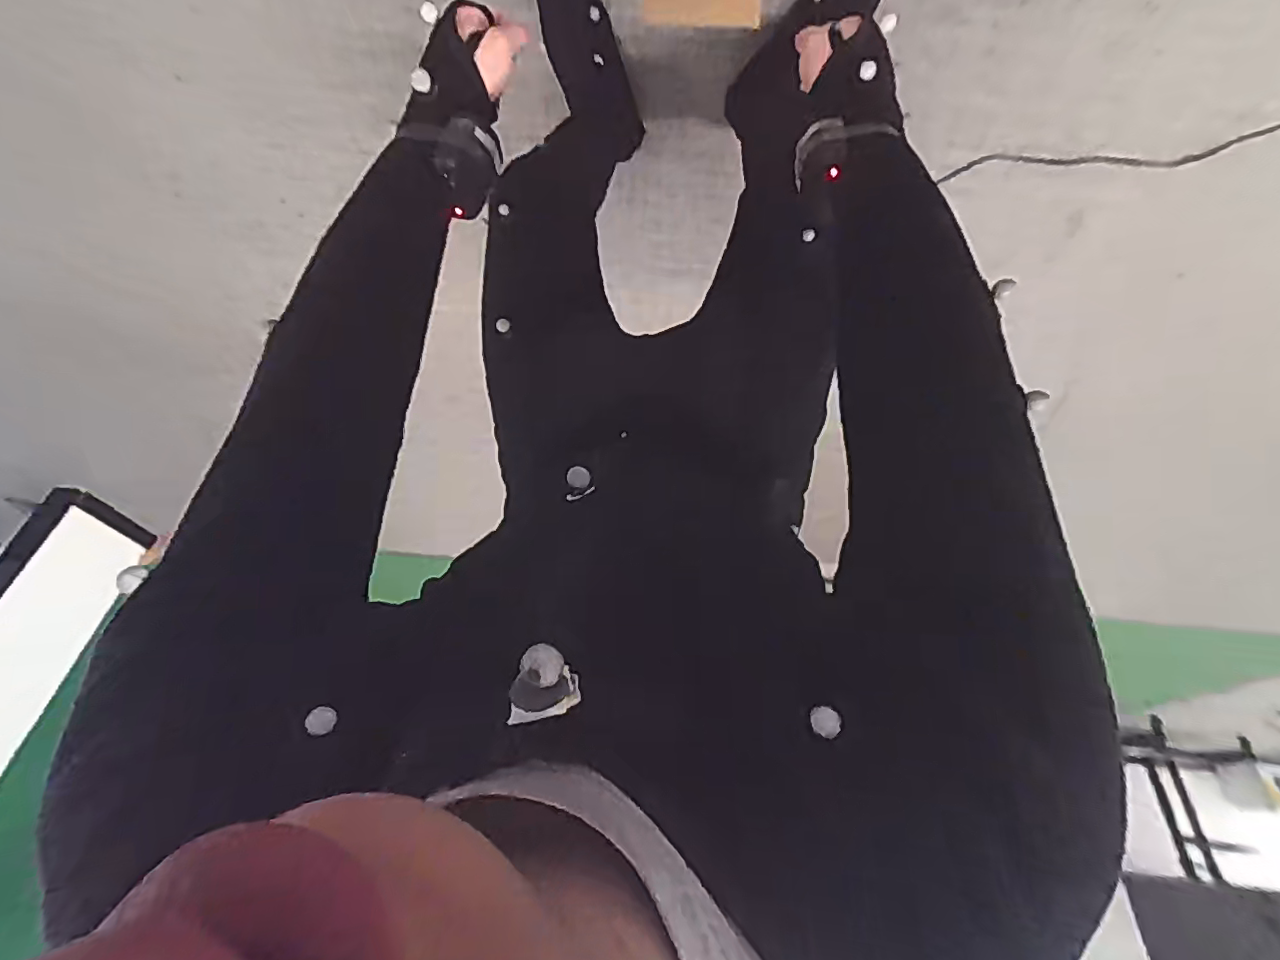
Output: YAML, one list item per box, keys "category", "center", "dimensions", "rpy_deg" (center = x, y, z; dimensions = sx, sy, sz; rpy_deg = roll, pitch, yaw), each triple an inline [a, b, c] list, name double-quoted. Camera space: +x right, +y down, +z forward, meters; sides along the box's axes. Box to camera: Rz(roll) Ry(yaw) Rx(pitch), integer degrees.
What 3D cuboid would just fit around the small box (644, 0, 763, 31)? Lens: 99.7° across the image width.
- category: "small box"
  center: [0.096, -0.759, 0.742]
  dimensions: [0.168, 0.176, 0.179]
  rpy_deg: [6, 148, 3]
